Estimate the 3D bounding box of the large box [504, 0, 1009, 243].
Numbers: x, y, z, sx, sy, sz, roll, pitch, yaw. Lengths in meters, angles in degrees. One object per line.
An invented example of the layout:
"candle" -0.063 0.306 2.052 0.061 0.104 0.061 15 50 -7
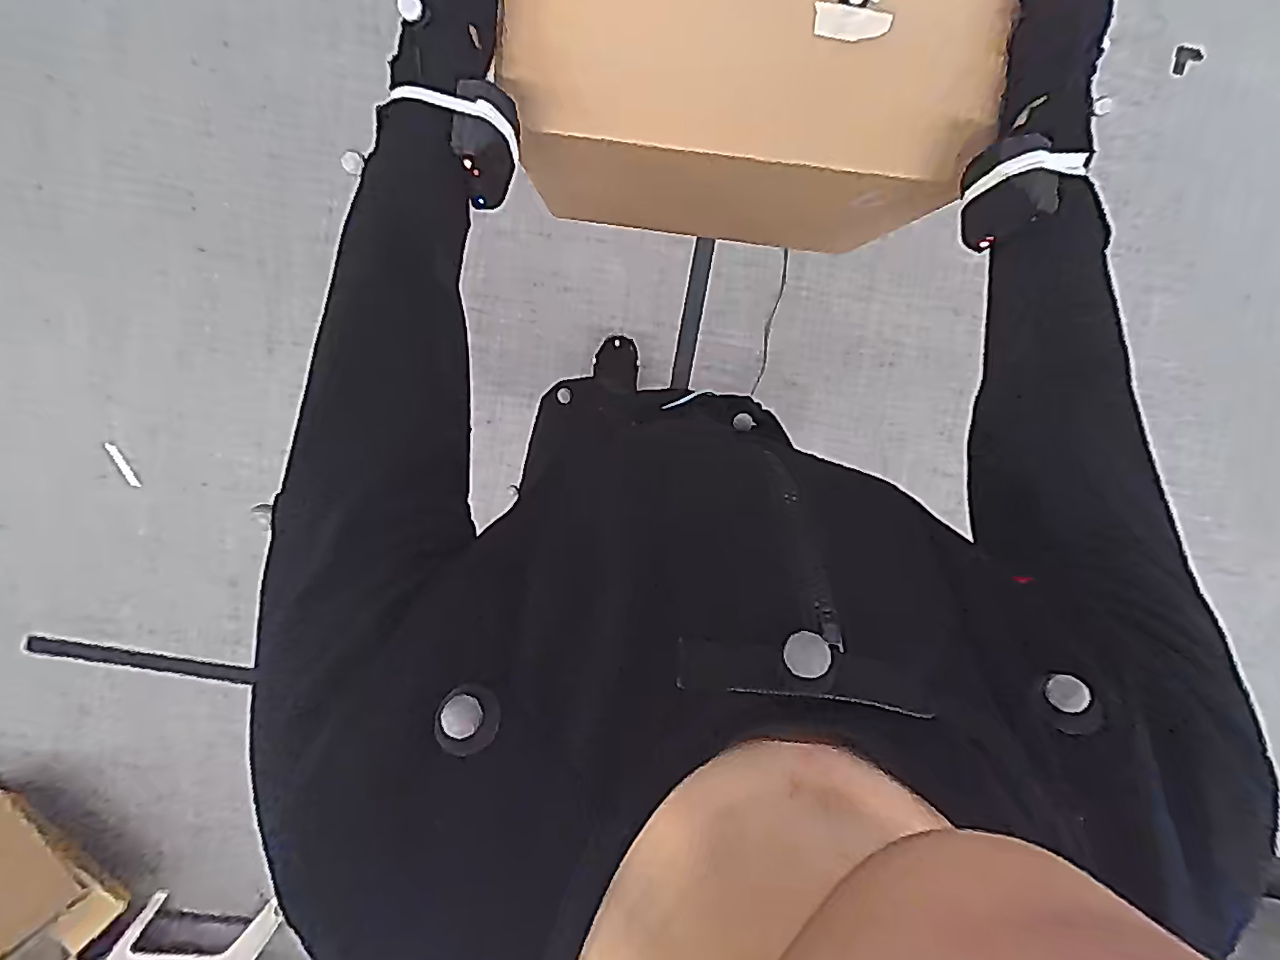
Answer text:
"large box" 0.094 -0.457 0.560 0.408 0.320 0.320 6 104 -3
